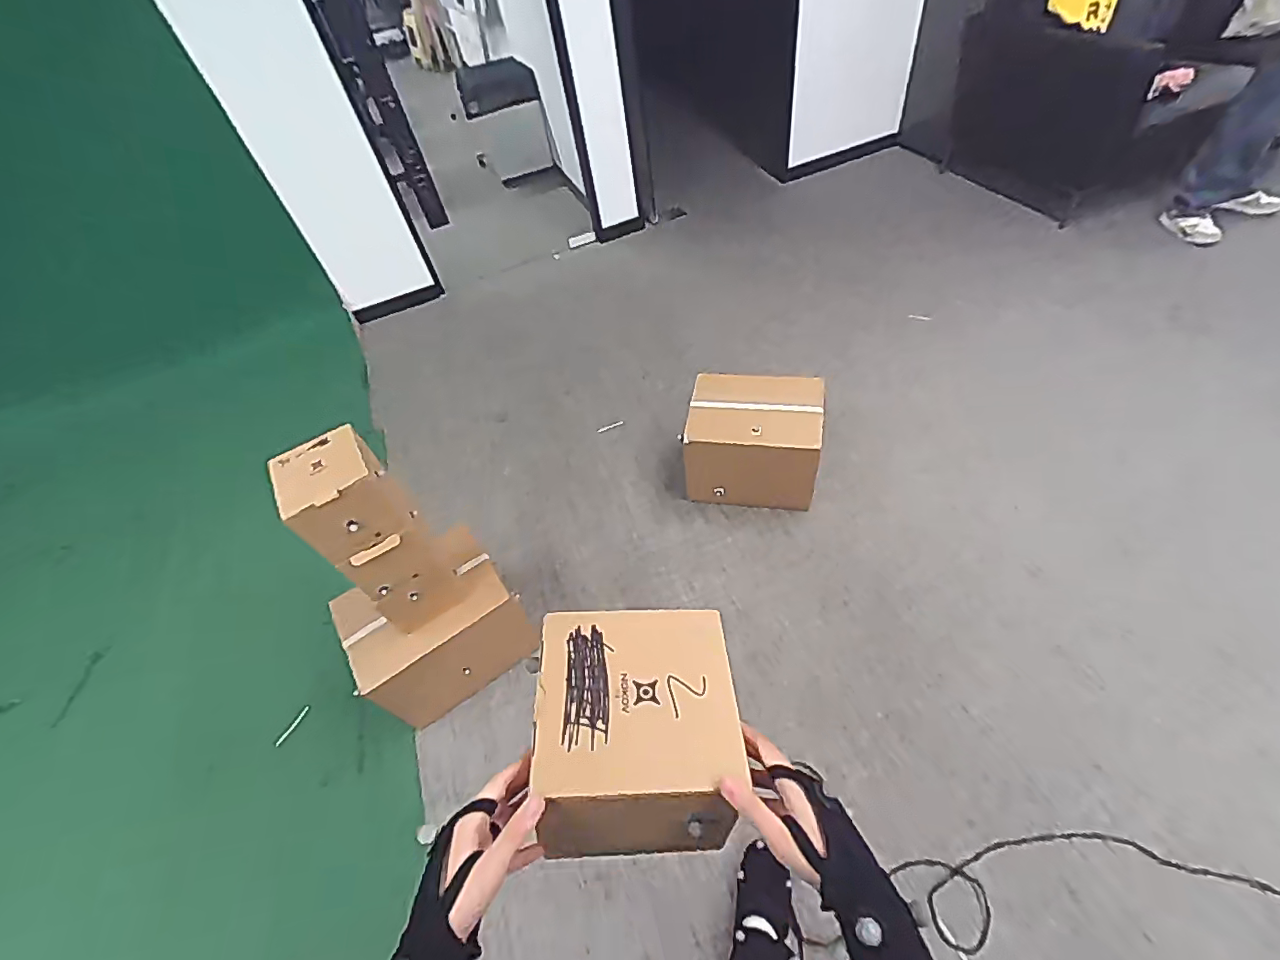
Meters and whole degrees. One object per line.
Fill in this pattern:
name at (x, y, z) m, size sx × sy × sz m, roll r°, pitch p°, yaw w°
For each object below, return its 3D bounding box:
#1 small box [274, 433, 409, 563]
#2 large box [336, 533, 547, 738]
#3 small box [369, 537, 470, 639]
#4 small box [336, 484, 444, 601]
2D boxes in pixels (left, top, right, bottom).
small box at (-0.594, 0.044, 1.092) m, size 0.168 × 0.176 × 0.179 m, roll -29°, pitch 53°, yaw -15°
large box at (-0.537, 0.432, 1.511) m, size 0.408 × 0.320 × 0.320 m, roll -34°, pitch 51°, yaw -16°
small box at (-0.550, 0.261, 1.335) m, size 0.179 × 0.176 × 0.168 m, roll -30°, pitch 53°, yaw -15°
small box at (-0.567, 0.149, 1.216) m, size 0.168 × 0.176 × 0.179 m, roll -29°, pitch 52°, yaw -14°
